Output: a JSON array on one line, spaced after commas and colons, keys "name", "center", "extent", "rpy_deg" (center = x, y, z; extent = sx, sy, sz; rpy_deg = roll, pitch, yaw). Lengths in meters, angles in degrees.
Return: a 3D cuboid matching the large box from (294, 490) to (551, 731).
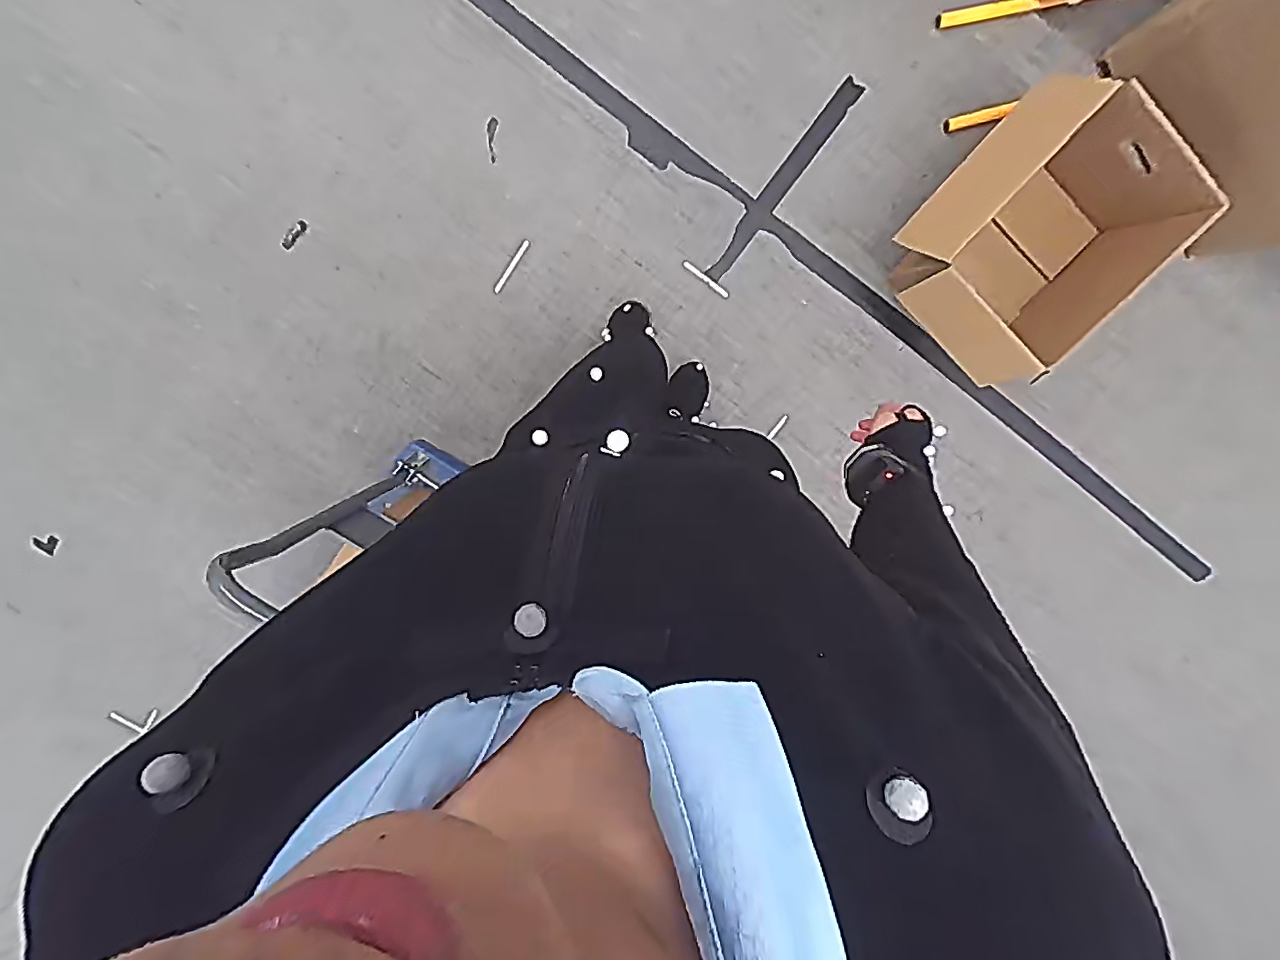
[{"name": "large box", "center": [-0.479, 0.289, 1.275], "extent": [0.408, 0.320, 0.320], "rpy_deg": [36, 103, -7]}]
